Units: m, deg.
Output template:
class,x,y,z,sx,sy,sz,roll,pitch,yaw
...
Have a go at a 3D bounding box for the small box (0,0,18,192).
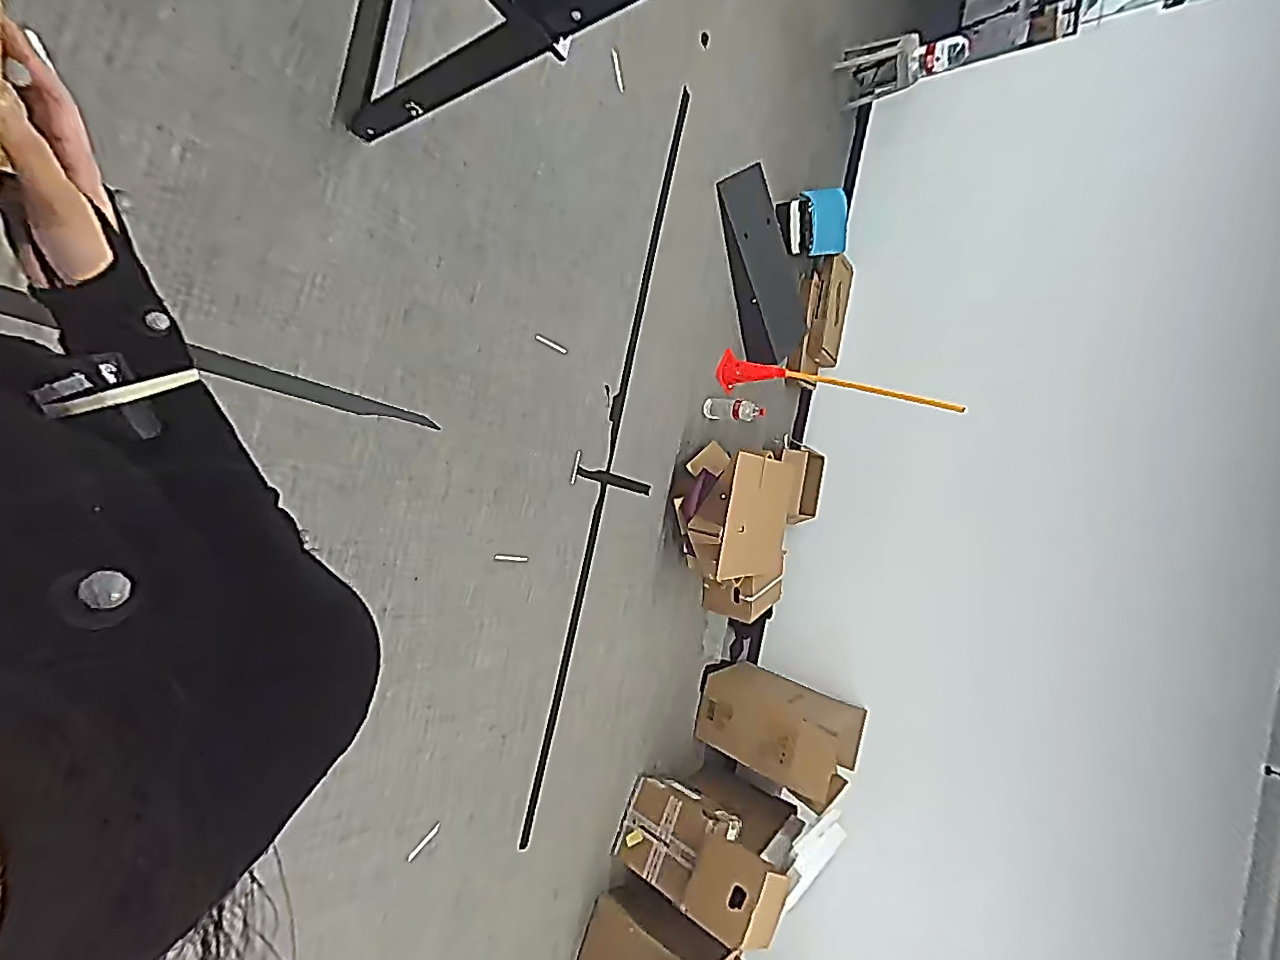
class,x,y,z,sx,sy,sz,roll,pitch,yaw
small box,-0.412,-0.226,0.241,0.168,0.176,0.179,1,89,-55
